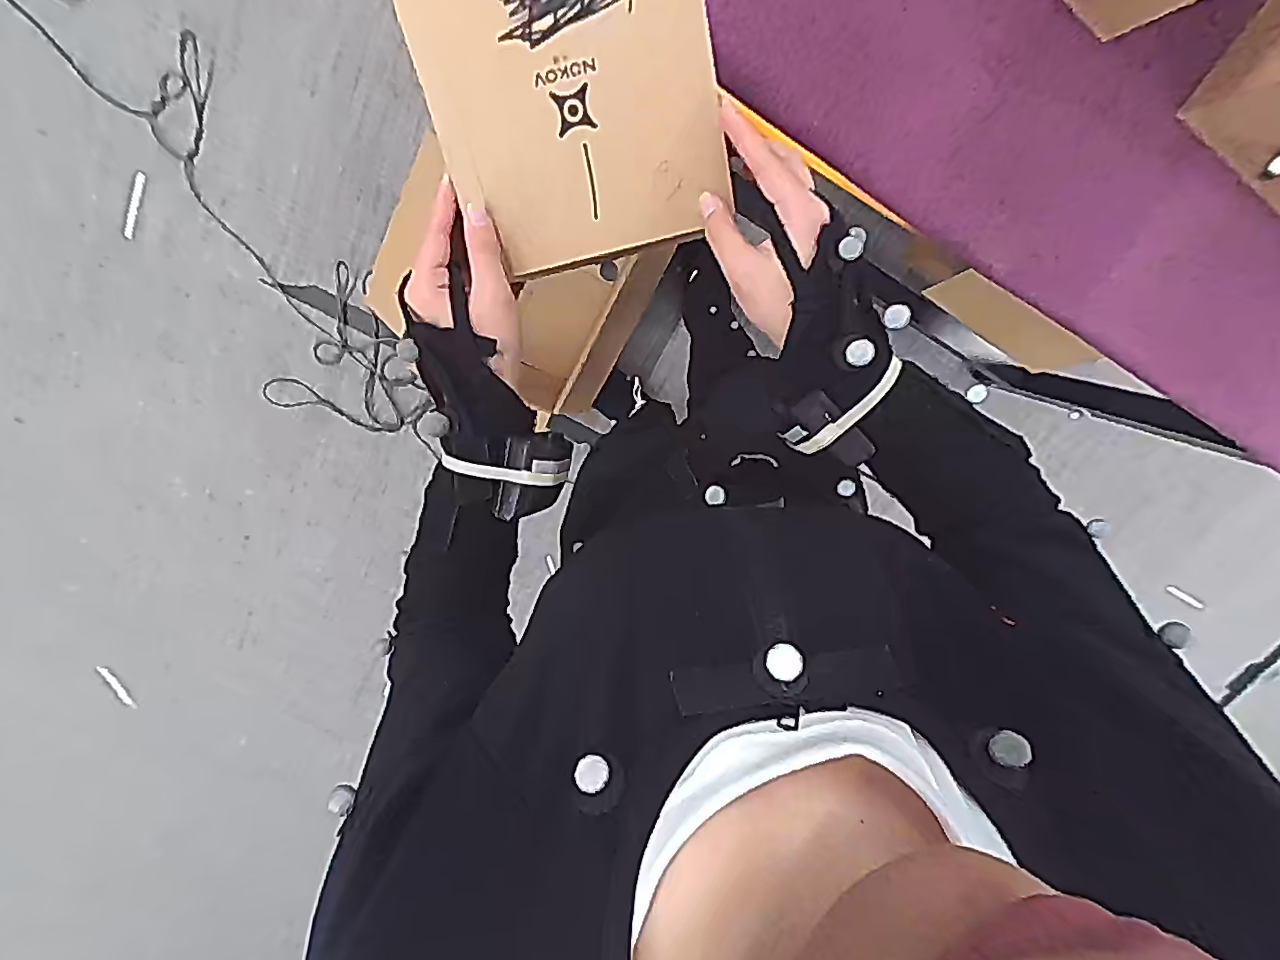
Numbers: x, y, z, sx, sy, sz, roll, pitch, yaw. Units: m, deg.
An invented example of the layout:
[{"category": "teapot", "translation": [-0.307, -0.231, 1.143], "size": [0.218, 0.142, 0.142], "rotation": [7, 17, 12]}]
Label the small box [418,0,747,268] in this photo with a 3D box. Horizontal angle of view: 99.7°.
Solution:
[{"category": "small box", "translation": [-0.033, -0.255, 0.378], "size": [0.168, 0.176, 0.179], "rotation": [-12, 112, 3]}]

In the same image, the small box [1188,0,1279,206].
[{"category": "small box", "translation": [0.623, -0.351, 0.430], "size": [0.168, 0.176, 0.179], "rotation": [29, 106, -13]}]
